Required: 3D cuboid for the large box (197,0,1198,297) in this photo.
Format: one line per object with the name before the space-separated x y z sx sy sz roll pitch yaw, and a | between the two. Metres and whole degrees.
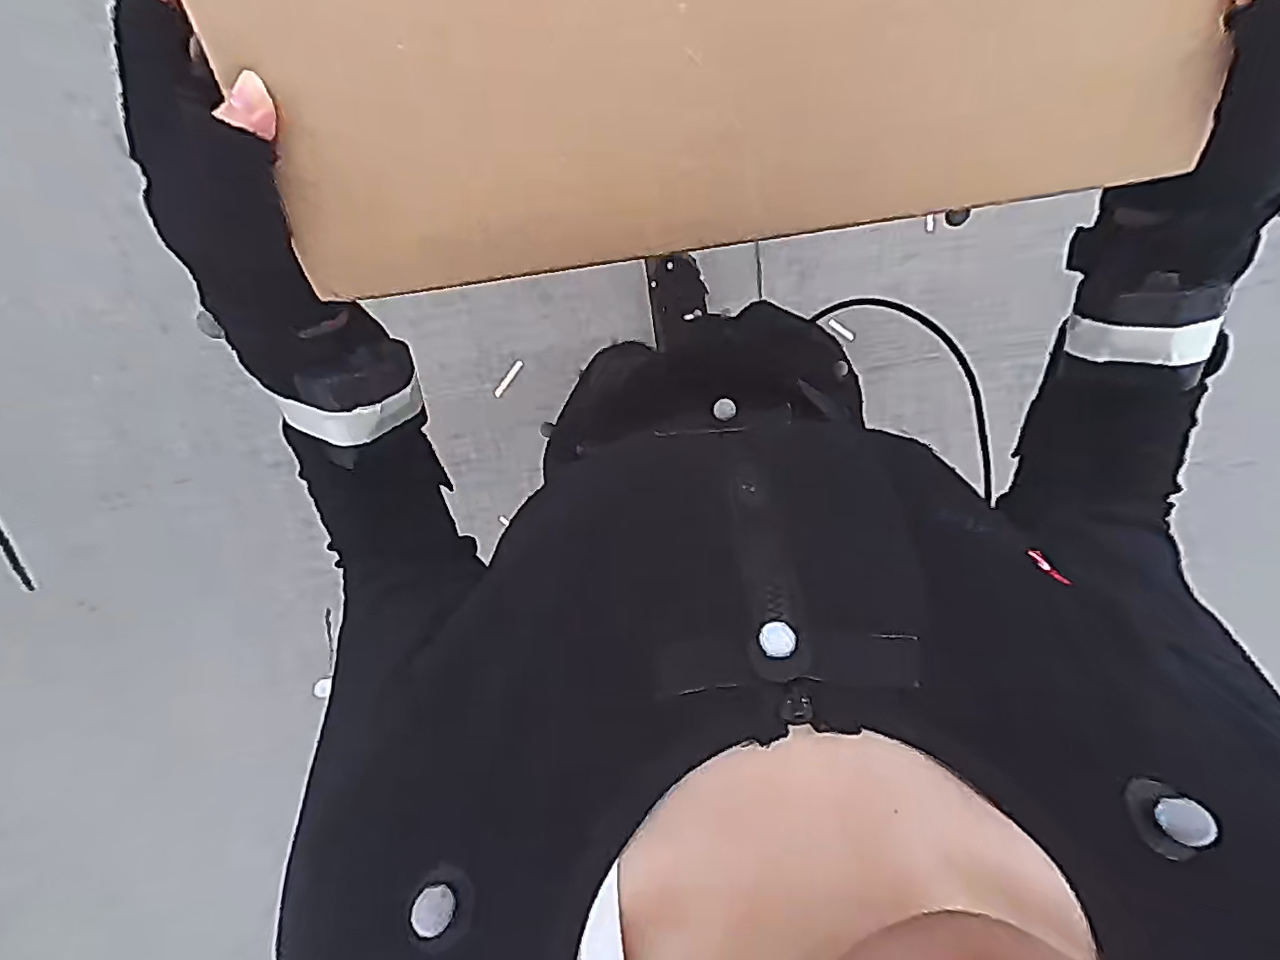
large box | 0.015 -0.327 0.307 0.408 0.320 0.320 -8 121 4
